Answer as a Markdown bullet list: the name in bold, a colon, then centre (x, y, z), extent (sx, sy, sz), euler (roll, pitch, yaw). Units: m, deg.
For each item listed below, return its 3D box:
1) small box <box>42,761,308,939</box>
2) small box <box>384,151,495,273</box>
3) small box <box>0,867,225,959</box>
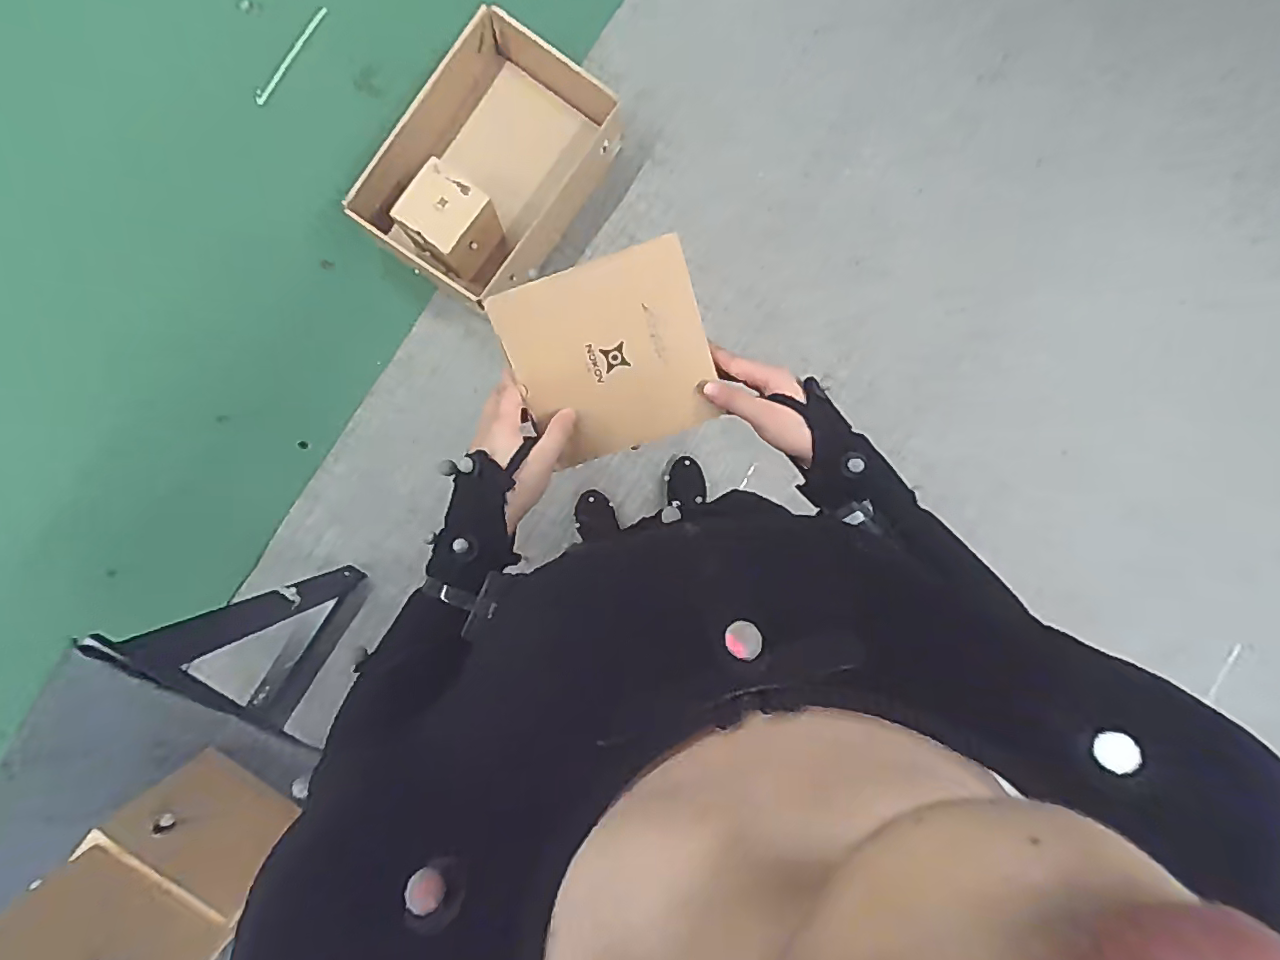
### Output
- **small box**: centre (-0.547, 0.469, 0.633), extent (0.179, 0.176, 0.168), euler (38, 90, -4)
- **small box**: centre (-0.478, -0.642, 1.323), extent (0.168, 0.176, 0.179), euler (35, 88, -4)
- **small box**: centre (-0.532, 0.491, 0.470), extent (0.179, 0.176, 0.168), euler (36, 90, -5)
